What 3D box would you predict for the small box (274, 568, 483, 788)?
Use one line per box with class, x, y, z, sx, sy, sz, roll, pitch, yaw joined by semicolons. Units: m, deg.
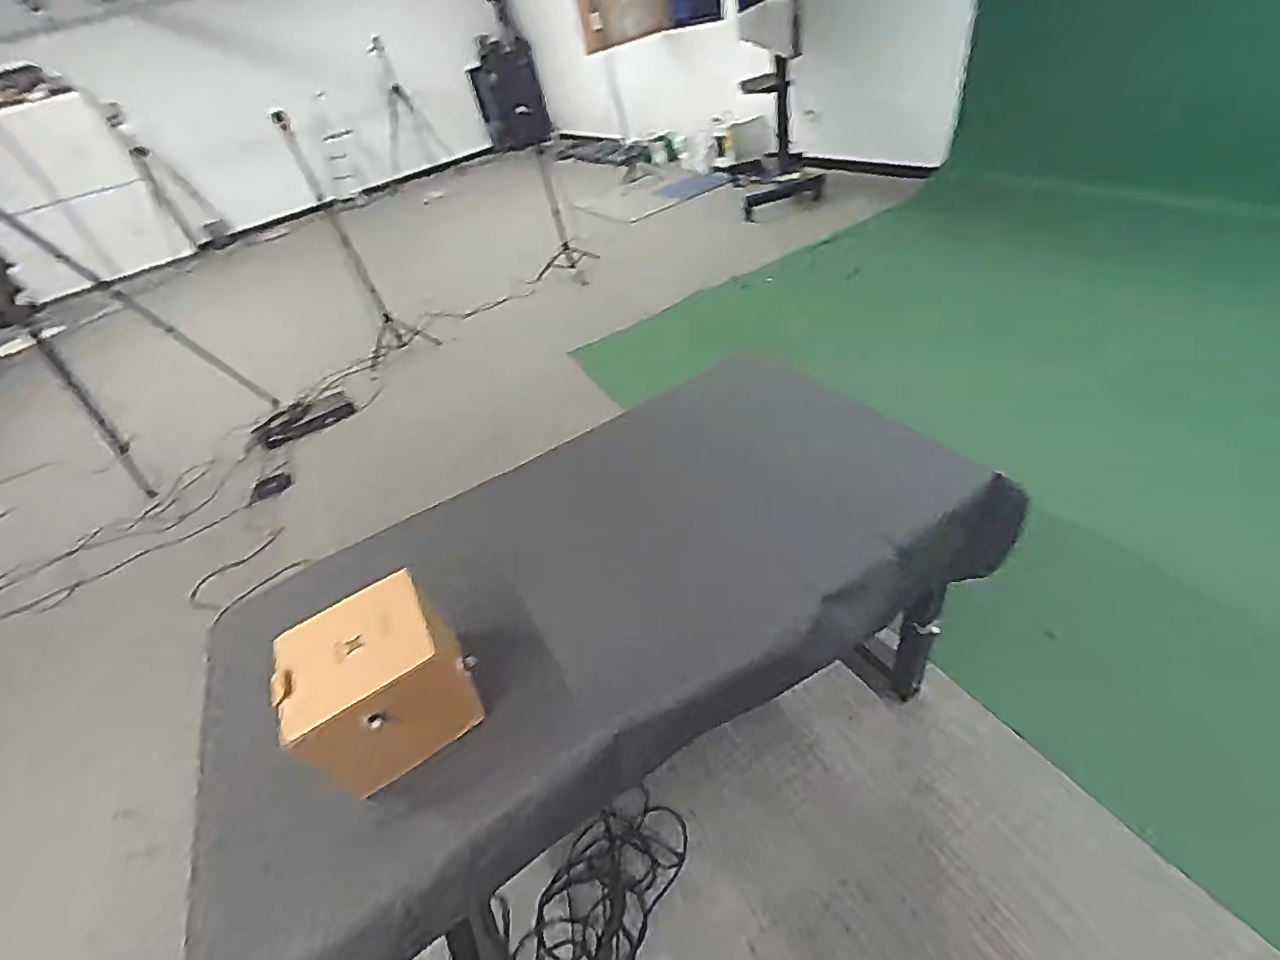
small box;-0.334;0.257;0.702;0.179;0.176;0.168;-29;44;-17
